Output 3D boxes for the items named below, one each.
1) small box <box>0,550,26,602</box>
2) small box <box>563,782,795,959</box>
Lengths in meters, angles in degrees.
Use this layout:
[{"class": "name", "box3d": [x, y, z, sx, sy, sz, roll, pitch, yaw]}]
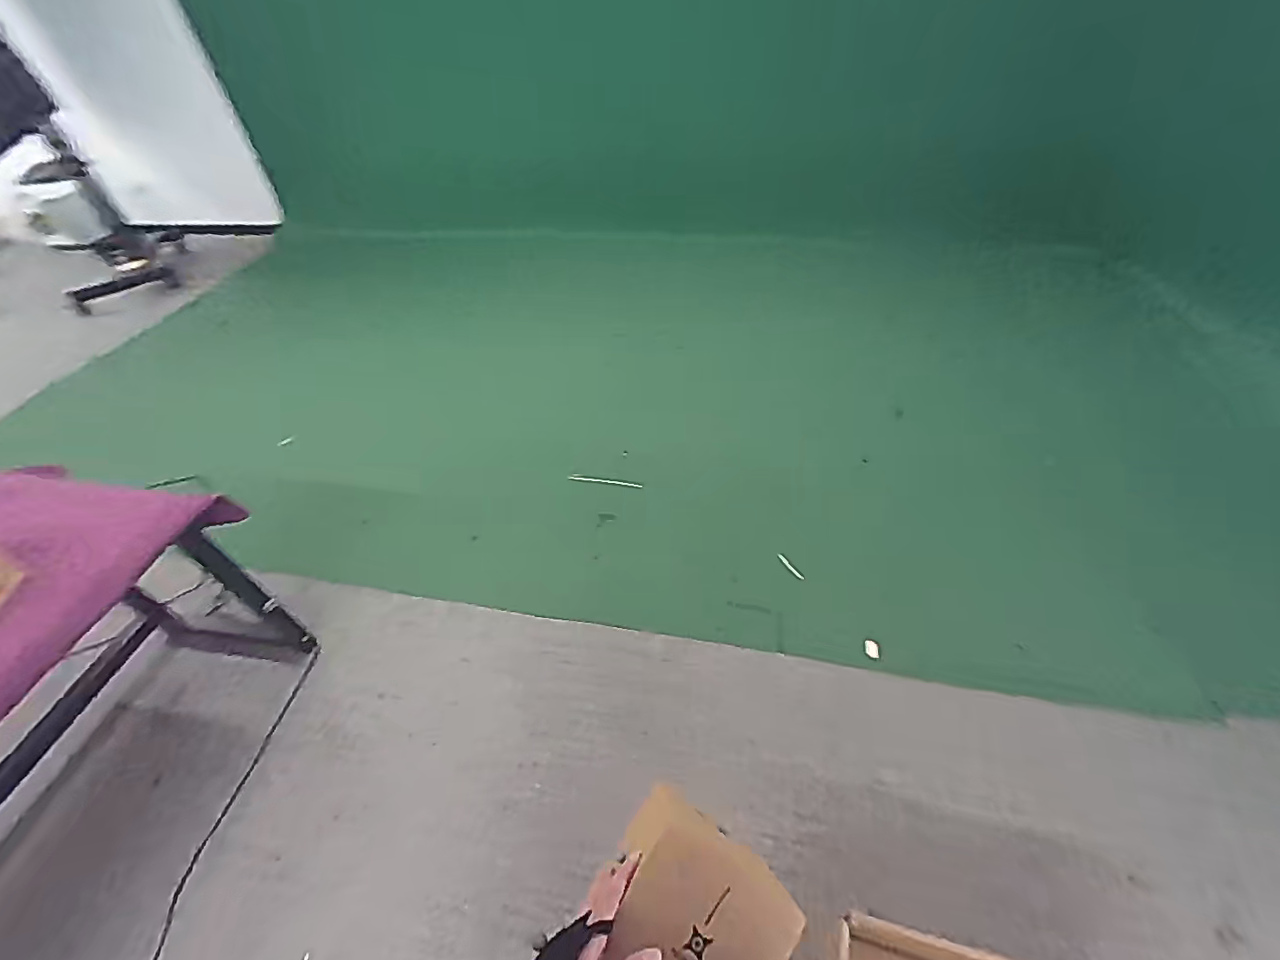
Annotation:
[{"class": "small box", "box3d": [-1.401, 0.202, 1.059, 0.179, 0.176, 0.168, -9, 46, -3]}, {"class": "small box", "box3d": [0.035, 0.474, 0.594, 0.168, 0.176, 0.179, 35, 73, 7]}]
